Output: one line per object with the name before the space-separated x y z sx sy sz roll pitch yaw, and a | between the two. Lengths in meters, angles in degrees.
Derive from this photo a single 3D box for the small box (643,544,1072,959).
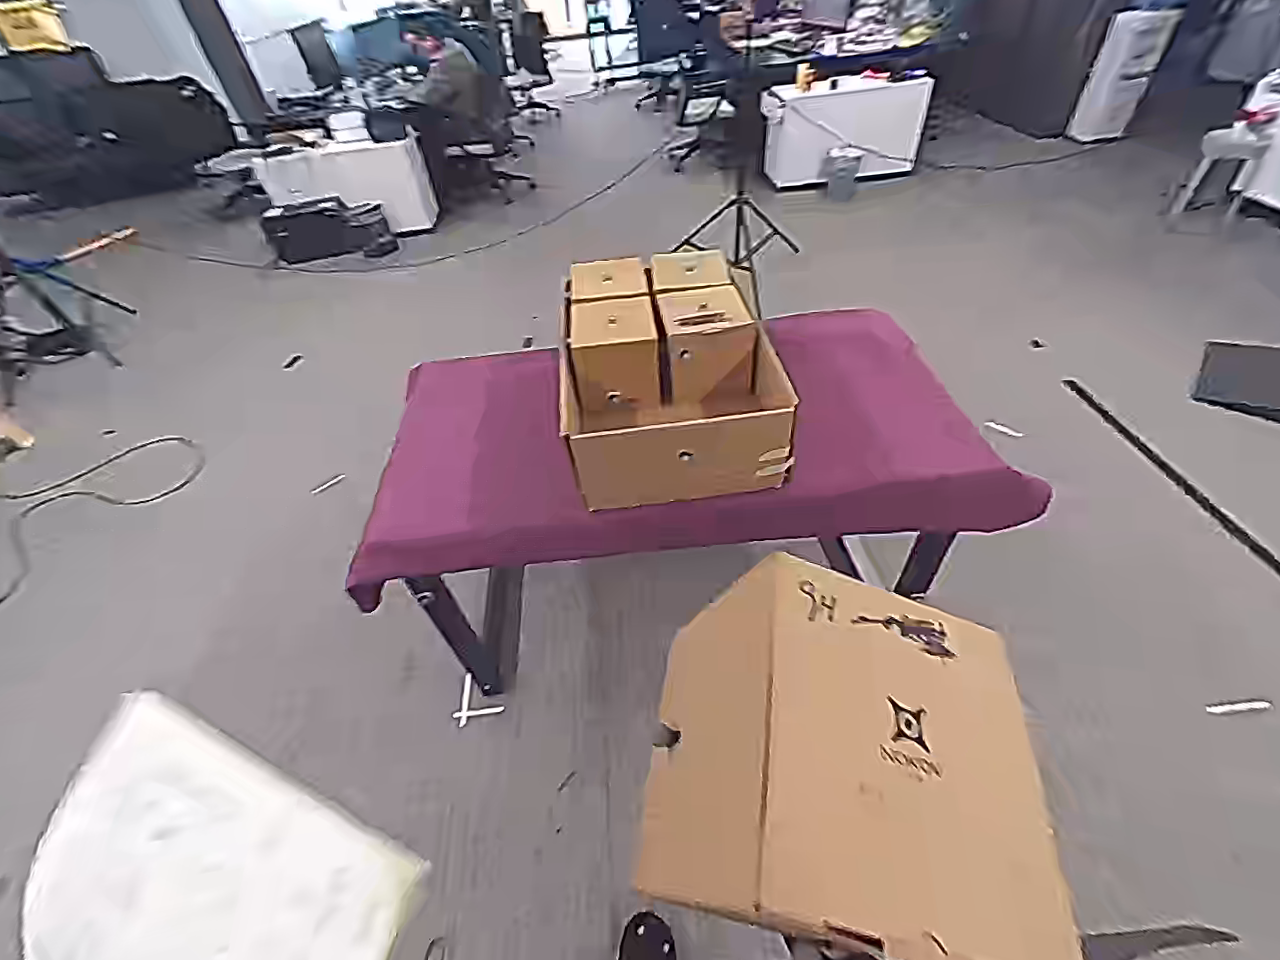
small box | 0.112 0.175 0.345 0.168 0.176 0.179 21 52 -8
